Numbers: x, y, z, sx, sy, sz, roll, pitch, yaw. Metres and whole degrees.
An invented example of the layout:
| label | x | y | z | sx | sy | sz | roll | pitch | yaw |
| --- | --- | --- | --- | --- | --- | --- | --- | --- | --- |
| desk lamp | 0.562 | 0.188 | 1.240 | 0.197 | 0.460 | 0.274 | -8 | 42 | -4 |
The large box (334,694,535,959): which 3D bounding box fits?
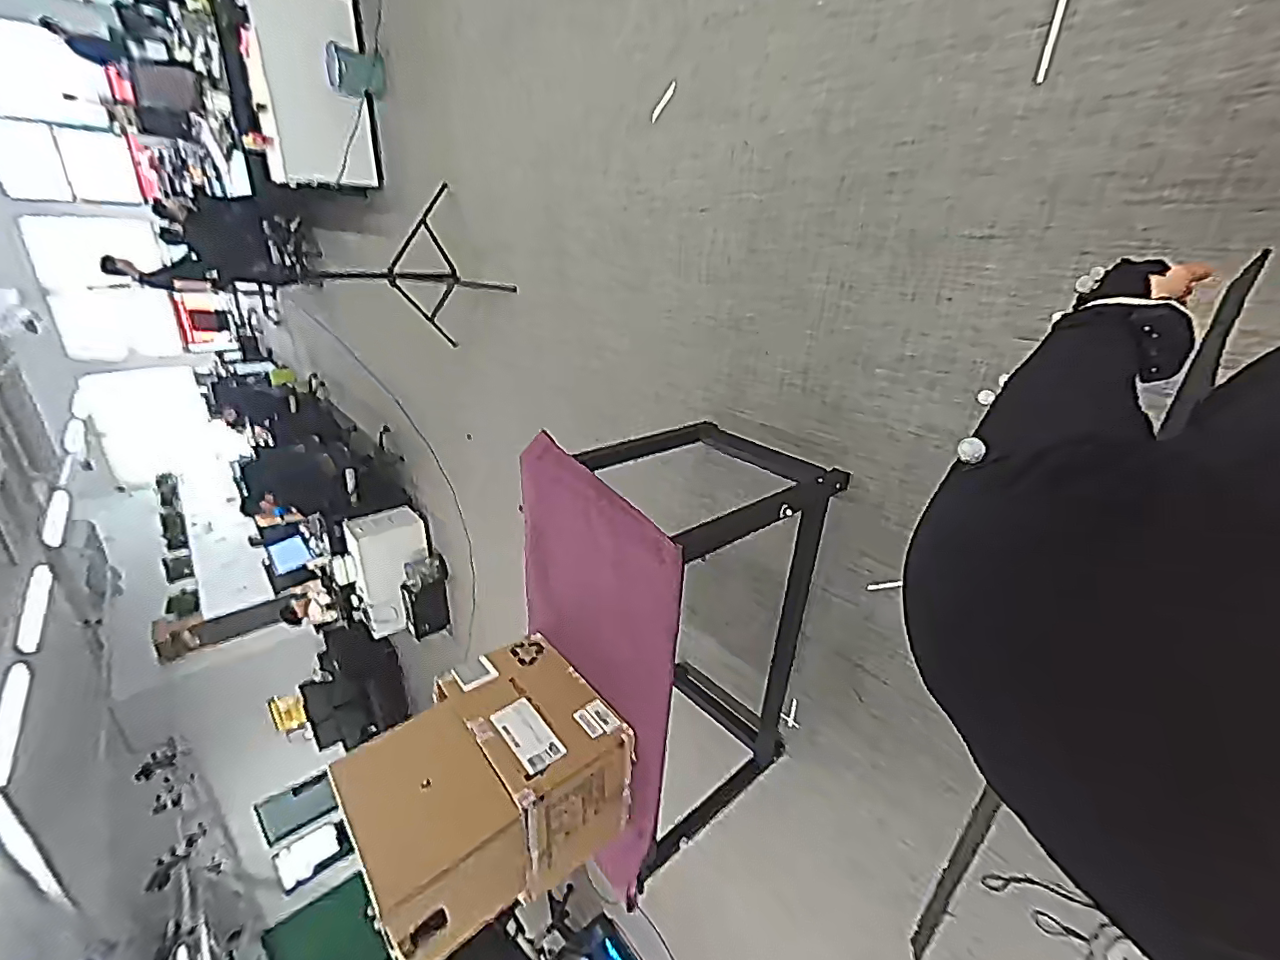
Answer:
| label | x | y | z | sx | sy | sz | roll | pitch | yaw |
| --- | --- | --- | --- | --- | --- | --- | --- | --- | --- |
| large box | -0.501 | 0.823 | 1.328 | 0.408 | 0.320 | 0.320 | 30 | 130 | 42 |
